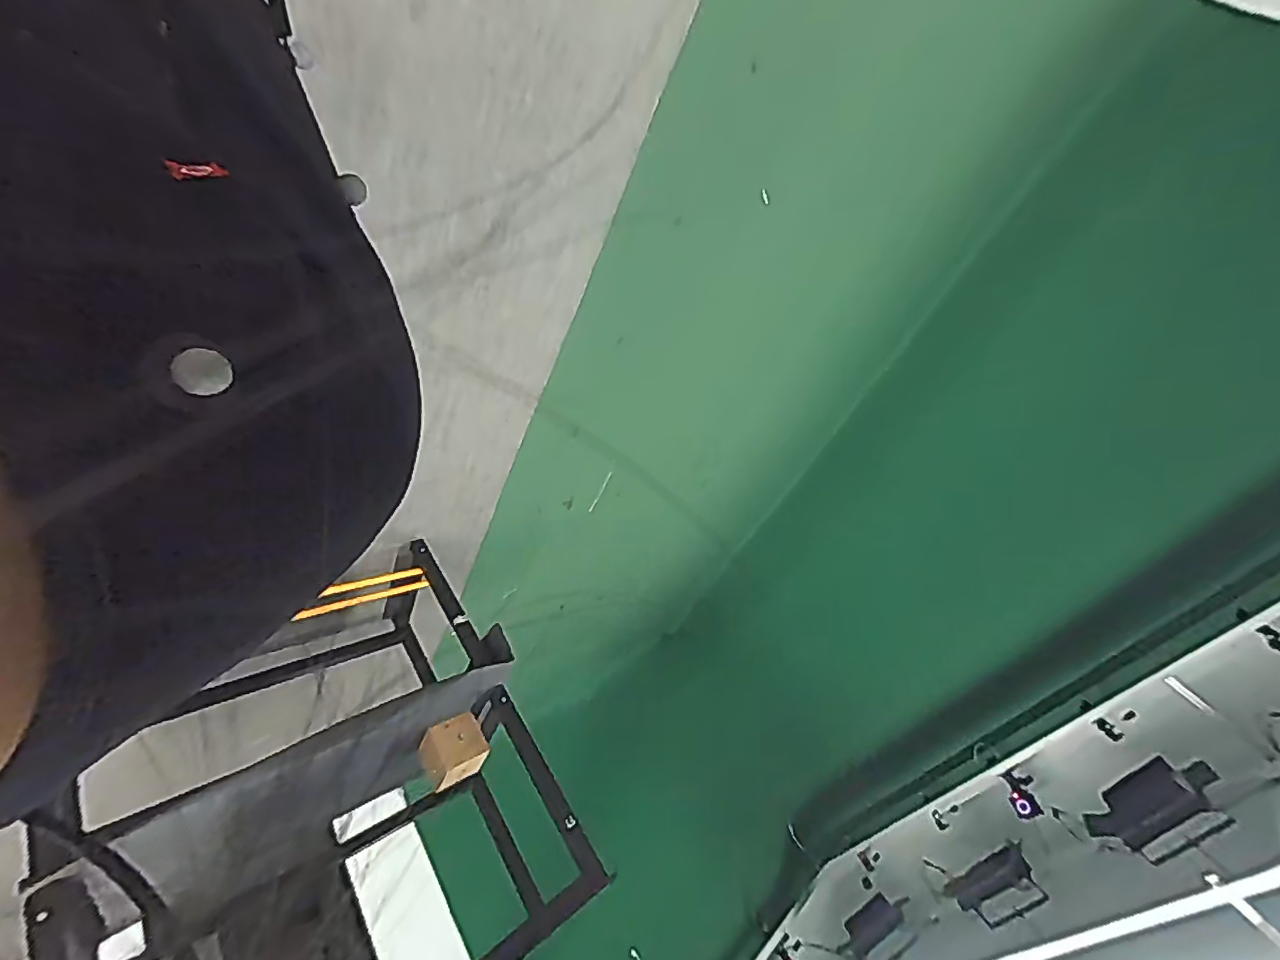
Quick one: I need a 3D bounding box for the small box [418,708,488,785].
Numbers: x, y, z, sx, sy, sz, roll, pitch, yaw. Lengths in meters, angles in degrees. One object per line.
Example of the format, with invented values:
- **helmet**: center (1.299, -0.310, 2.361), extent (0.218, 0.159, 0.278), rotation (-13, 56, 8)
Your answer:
- **small box**: center (-0.683, 0.956, 1.961), extent (0.168, 0.176, 0.179), rotation (-7, 139, -46)
